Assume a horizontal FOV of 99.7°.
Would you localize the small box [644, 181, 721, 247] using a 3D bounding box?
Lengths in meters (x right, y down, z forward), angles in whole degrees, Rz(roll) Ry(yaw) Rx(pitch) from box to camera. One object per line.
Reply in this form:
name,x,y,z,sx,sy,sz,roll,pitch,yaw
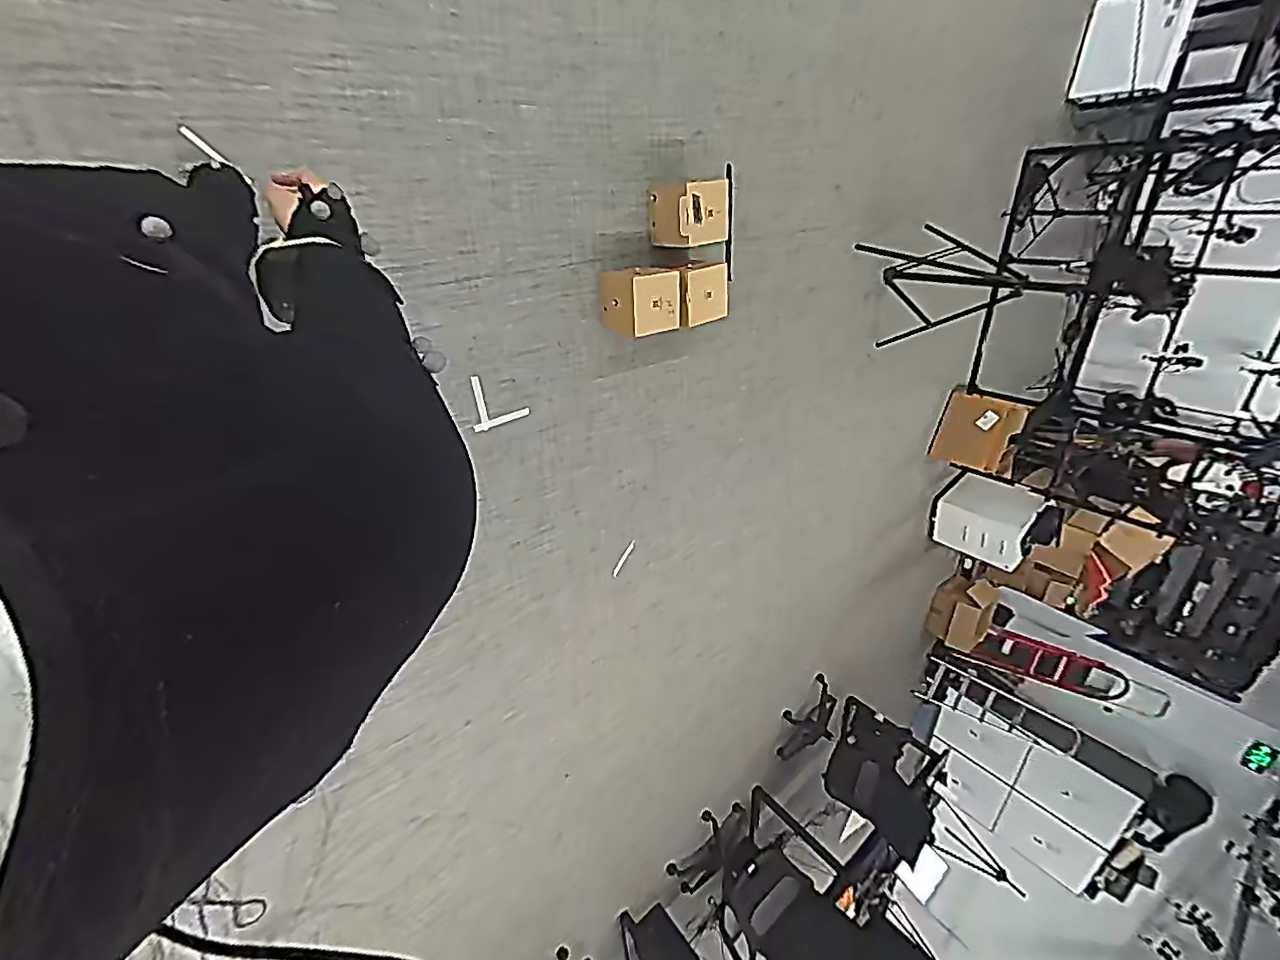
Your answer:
small box,0.124,-0.798,1.625,0.179,0.176,0.168,-25,126,-33
